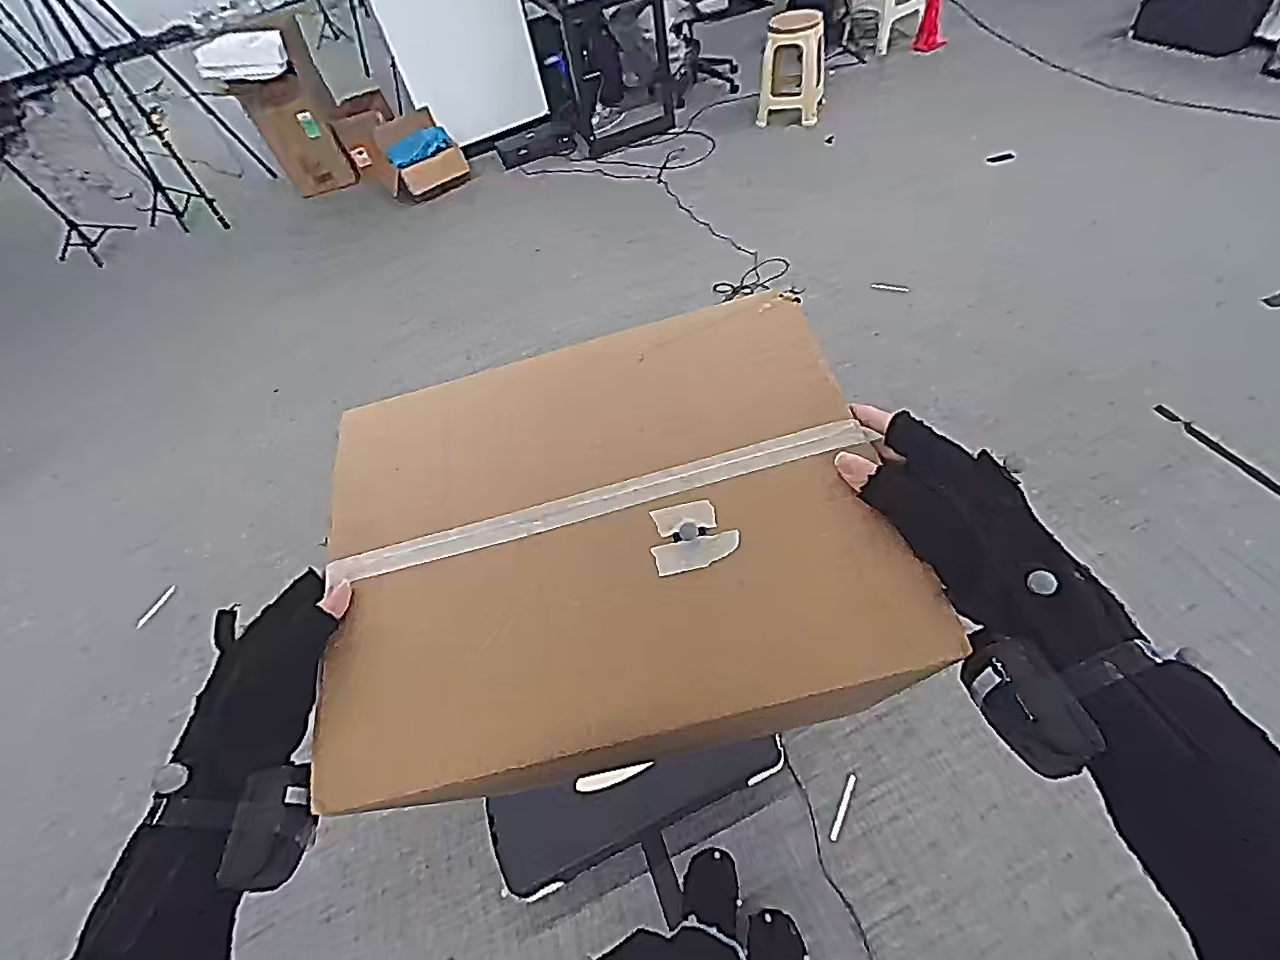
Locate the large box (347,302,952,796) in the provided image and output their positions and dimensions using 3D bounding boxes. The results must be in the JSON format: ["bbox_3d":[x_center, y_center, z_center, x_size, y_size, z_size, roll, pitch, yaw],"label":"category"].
[{"bbox_3d":[-0.005,0.092,0.539,0.408,0.320,0.320,-15,61,3],"label":"large box"}]
